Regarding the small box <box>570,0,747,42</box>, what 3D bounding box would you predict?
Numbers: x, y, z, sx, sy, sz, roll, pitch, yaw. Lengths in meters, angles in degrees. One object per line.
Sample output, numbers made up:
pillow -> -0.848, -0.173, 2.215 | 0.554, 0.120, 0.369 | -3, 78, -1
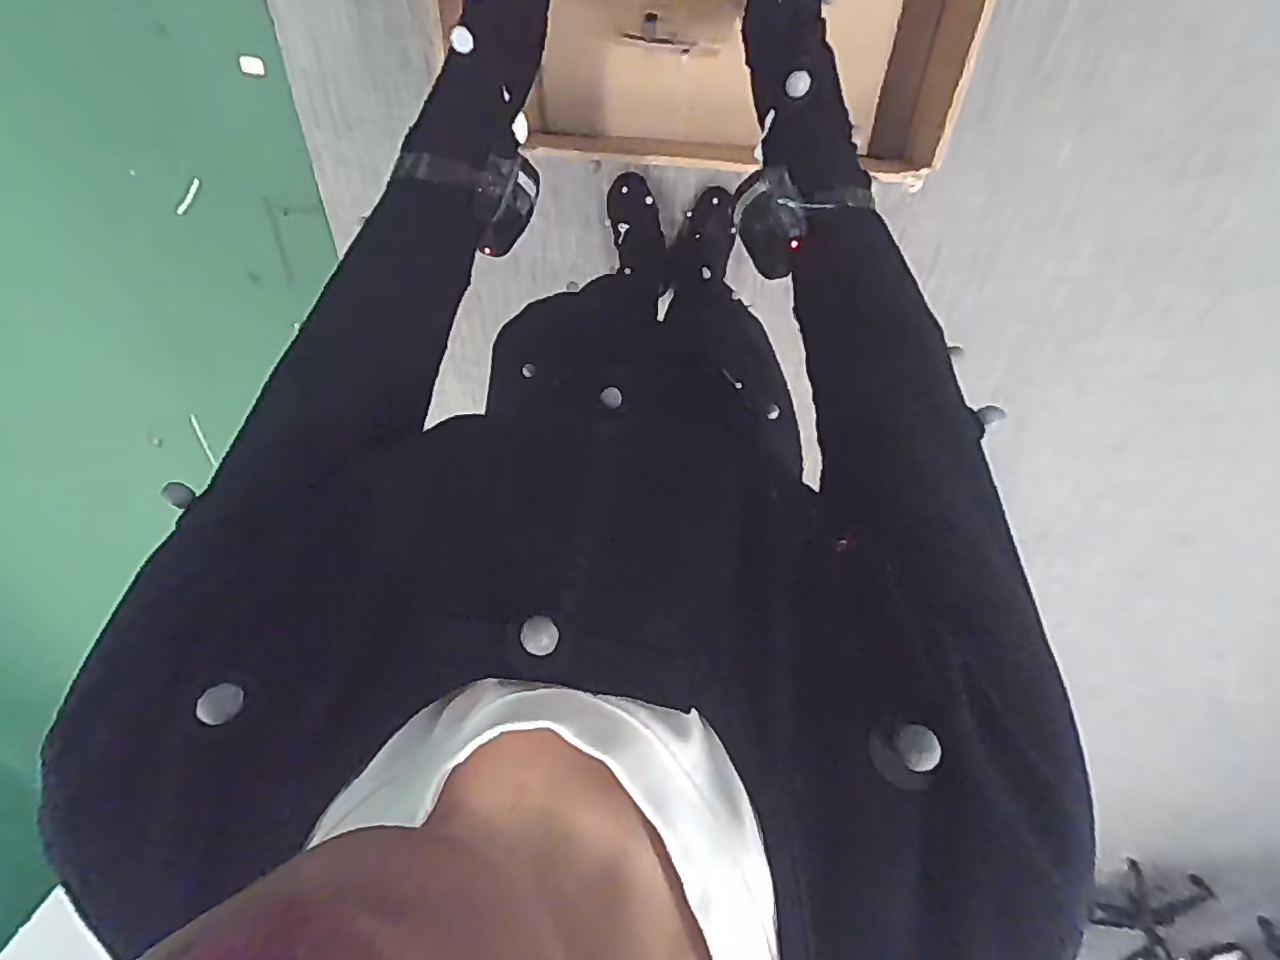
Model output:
small box -> 0.023, -0.505, 0.463 | 0.168, 0.176, 0.179 | 6, 118, 0

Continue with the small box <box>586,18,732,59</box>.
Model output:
small box -> 0.036, -0.600, 0.614 | 0.168, 0.176, 0.179 | 7, 124, 0

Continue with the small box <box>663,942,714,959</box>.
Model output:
small box -> 0.166, 1.731, 1.865 | 0.179, 0.176, 0.168 | 1, 125, 9
